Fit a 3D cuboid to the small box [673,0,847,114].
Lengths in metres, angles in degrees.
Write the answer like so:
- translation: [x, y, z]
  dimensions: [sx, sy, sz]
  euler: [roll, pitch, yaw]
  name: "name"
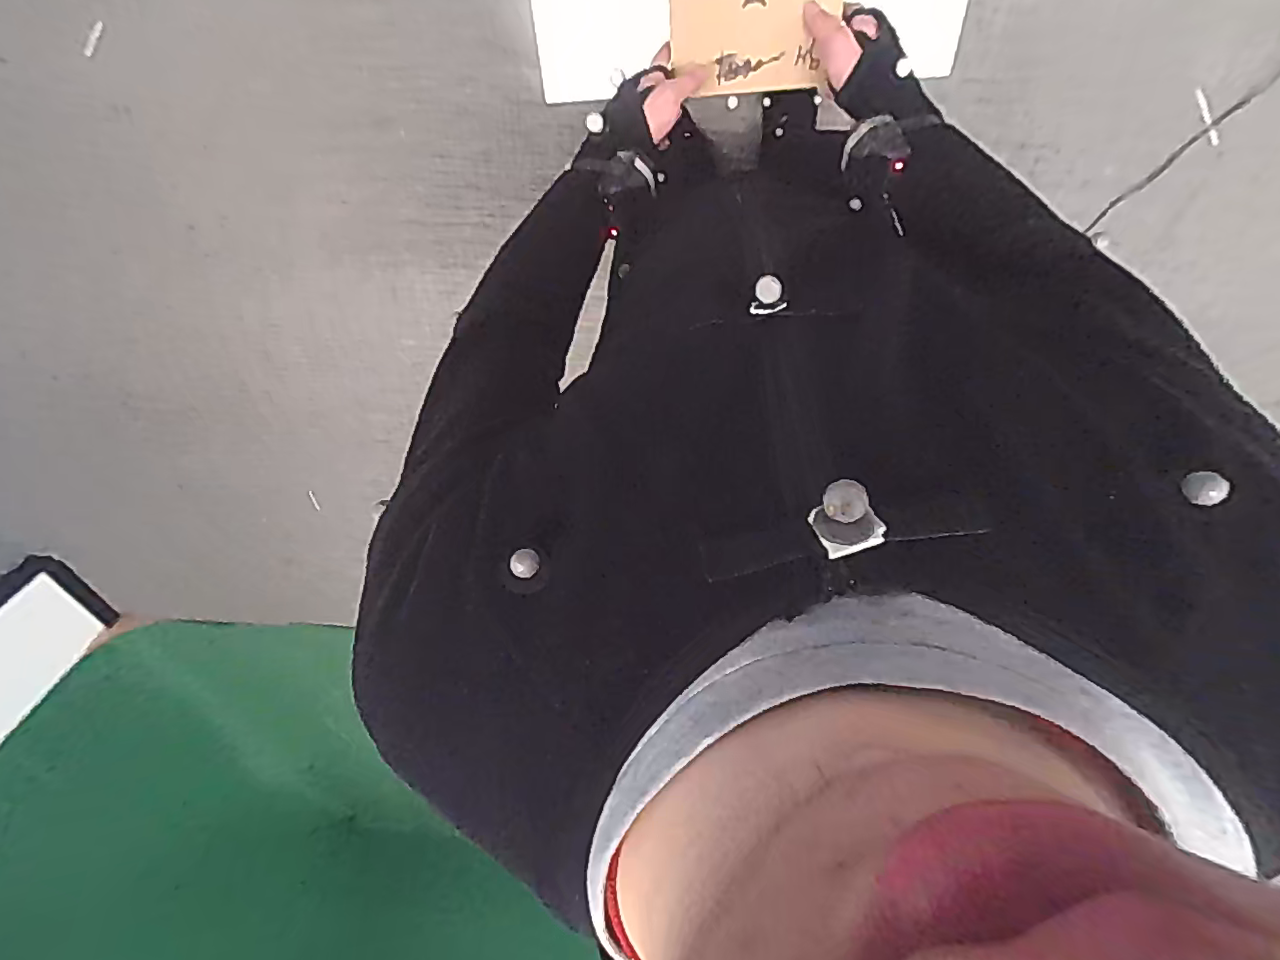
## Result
- translation: [0.118, -0.505, 0.574]
  dimensions: [0.168, 0.176, 0.179]
  euler: [-1, 129, 7]
  name: "small box"
